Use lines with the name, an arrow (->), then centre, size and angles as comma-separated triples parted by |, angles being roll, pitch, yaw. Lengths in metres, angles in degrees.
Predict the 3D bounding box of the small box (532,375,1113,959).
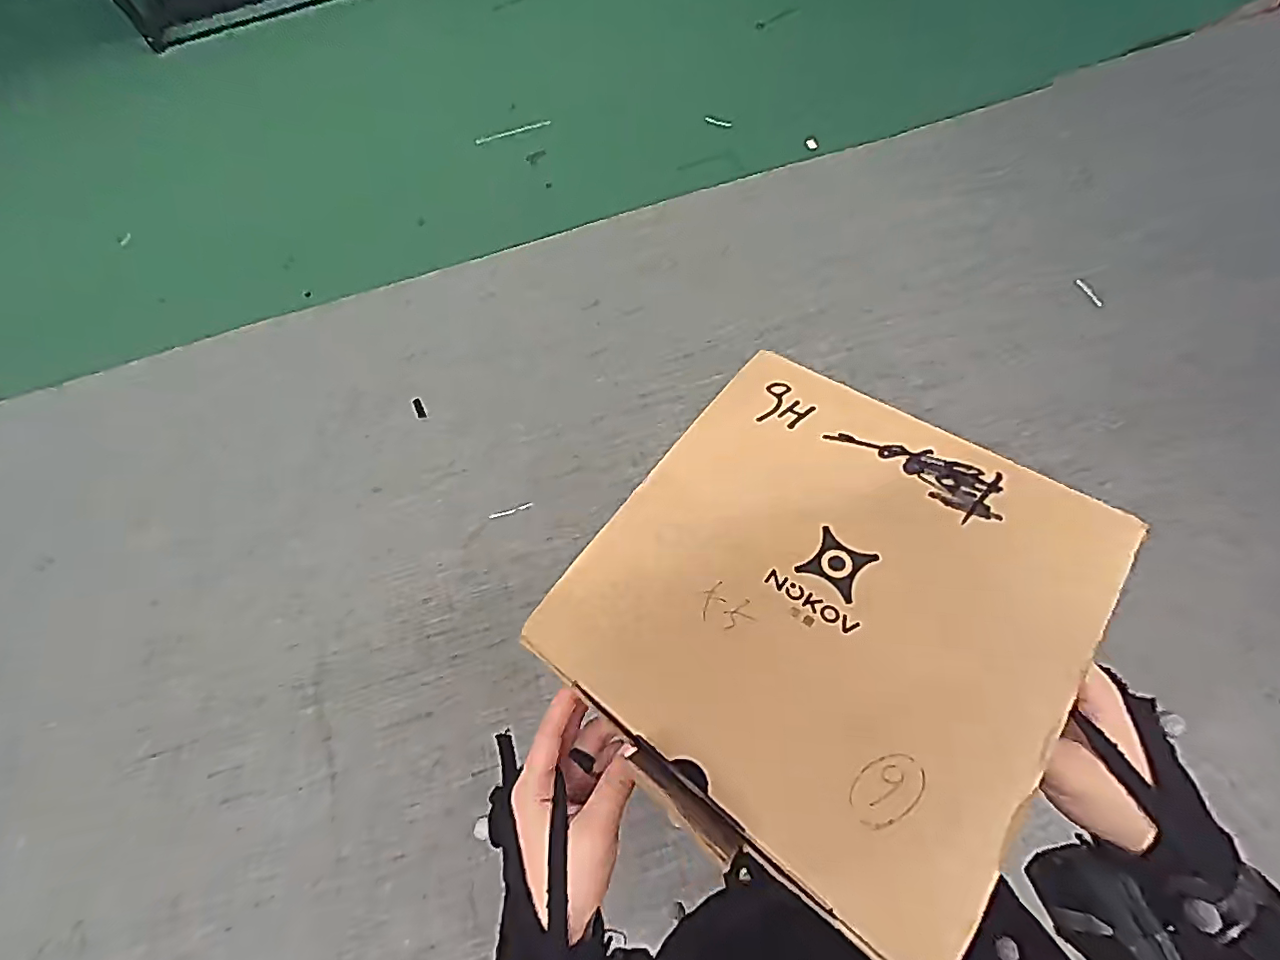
small box -> 0.080, 0.086, 0.283 | 0.168, 0.176, 0.179 | 32, 70, 24
